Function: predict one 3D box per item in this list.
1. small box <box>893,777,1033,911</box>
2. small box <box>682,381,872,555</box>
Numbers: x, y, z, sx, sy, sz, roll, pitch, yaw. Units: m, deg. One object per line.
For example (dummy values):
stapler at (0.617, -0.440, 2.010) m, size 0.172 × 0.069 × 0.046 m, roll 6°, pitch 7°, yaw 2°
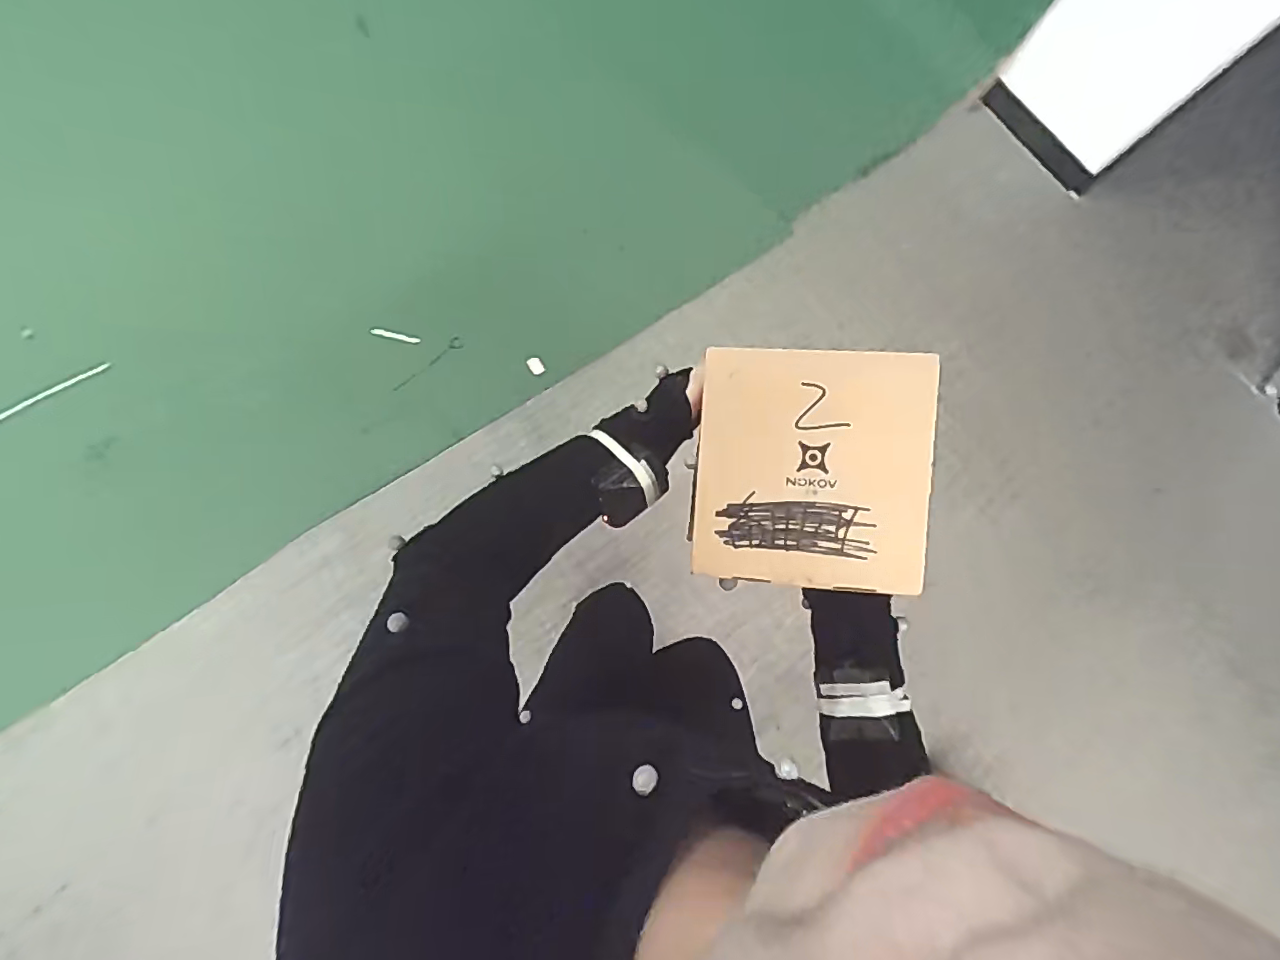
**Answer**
small box at (0.723, 0.812, 1.230) m, size 0.179 × 0.176 × 0.168 m, roll -22°, pitch 79°, yaw -12°
small box at (0.151, -0.015, 0.631) m, size 0.179 × 0.176 × 0.168 m, roll 6°, pitch 93°, yaw 9°
